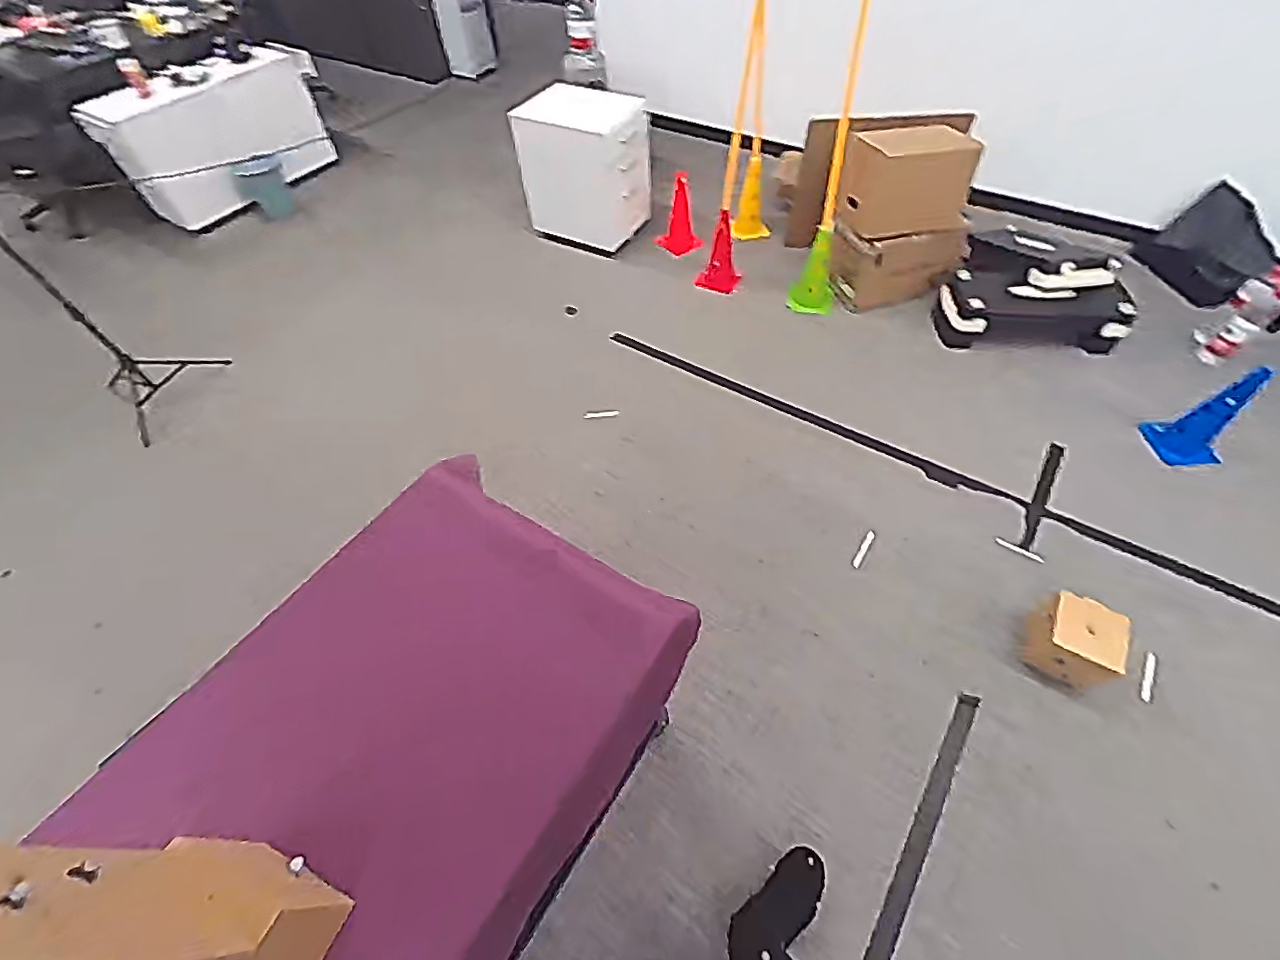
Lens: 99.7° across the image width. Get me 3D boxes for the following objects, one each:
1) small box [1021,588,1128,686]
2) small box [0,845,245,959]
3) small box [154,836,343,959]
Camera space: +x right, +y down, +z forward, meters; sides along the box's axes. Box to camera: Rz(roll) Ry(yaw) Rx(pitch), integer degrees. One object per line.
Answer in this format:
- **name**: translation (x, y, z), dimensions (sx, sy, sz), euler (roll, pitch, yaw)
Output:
- **small box**: translation (1.187, 0.435, 1.486), dimensions (0.168, 0.176, 0.179), euler (25, 59, 19)
- **small box**: translation (-0.506, 0.452, 0.464), dimensions (0.179, 0.176, 0.168), euler (23, 59, 18)
- **small box**: translation (-0.481, 0.536, 0.605), dimensions (0.168, 0.176, 0.179), euler (18, 57, 15)
